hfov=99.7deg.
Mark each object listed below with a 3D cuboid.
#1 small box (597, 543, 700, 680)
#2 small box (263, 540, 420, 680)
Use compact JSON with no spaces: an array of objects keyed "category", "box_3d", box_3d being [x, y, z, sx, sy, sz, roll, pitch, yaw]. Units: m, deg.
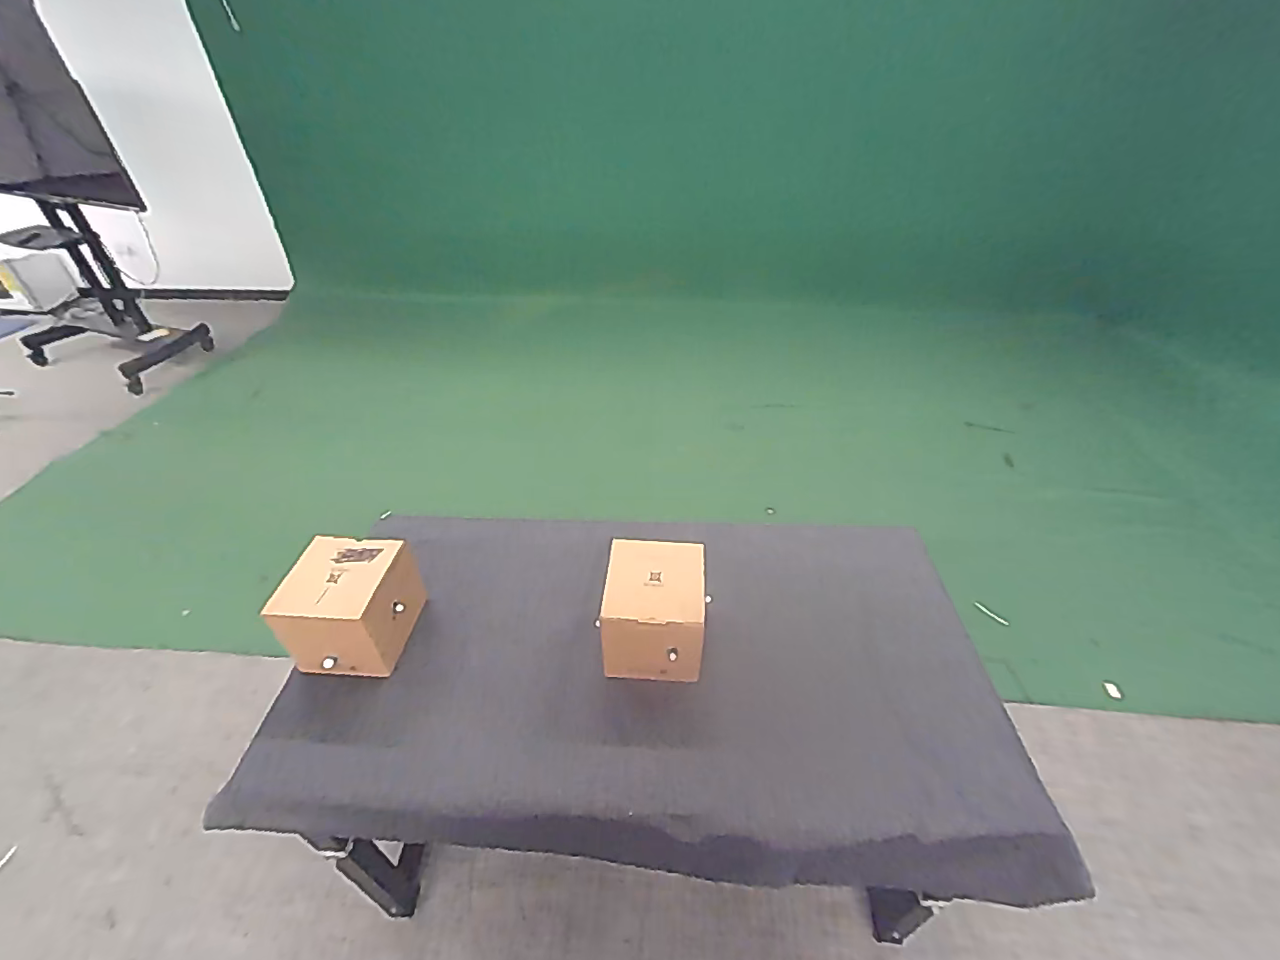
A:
[{"category":"small box","box_3d":[0.019,0.234,0.963,0.168,0.176,0.179,3,38,2]},{"category":"small box","box_3d":[-0.512,0.230,0.964,0.168,0.176,0.179,2,40,3]}]
